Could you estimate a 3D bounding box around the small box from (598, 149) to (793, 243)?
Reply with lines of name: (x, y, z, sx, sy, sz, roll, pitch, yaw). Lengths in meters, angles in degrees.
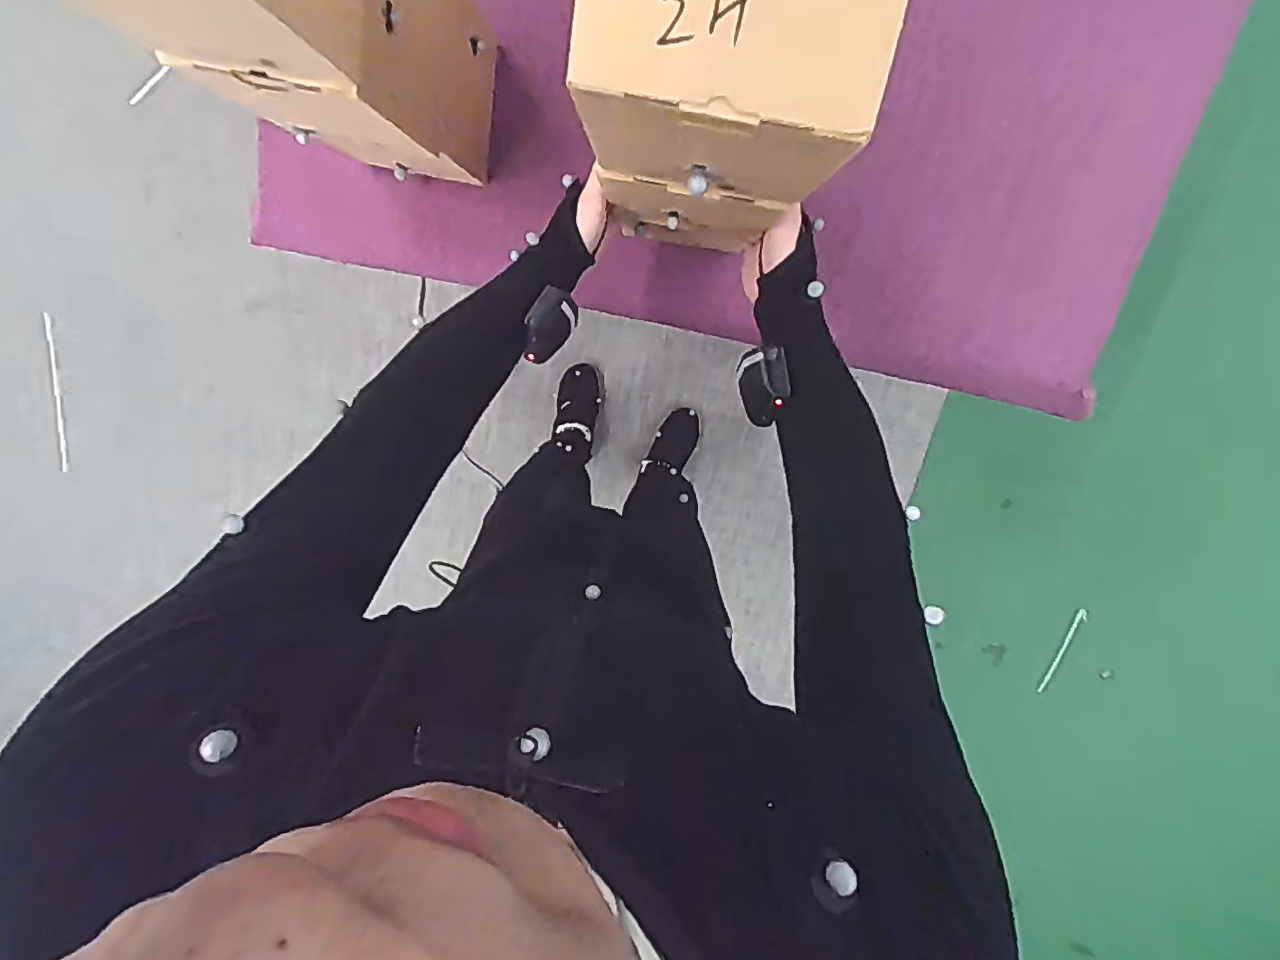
small box: (0.061, -0.335, 0.500, 0.168, 0.176, 0.179, 9, 106, 0)

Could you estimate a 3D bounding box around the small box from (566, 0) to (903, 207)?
small box: (0.058, -0.296, 0.340, 0.168, 0.176, 0.179, 10, 106, 0)

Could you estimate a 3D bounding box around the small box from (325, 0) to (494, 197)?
small box: (-0.281, -0.463, 0.644, 0.168, 0.176, 0.179, 10, 106, -1)

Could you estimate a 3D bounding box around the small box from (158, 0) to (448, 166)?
small box: (-0.287, -0.411, 0.489, 0.168, 0.176, 0.179, 10, 104, -1)
